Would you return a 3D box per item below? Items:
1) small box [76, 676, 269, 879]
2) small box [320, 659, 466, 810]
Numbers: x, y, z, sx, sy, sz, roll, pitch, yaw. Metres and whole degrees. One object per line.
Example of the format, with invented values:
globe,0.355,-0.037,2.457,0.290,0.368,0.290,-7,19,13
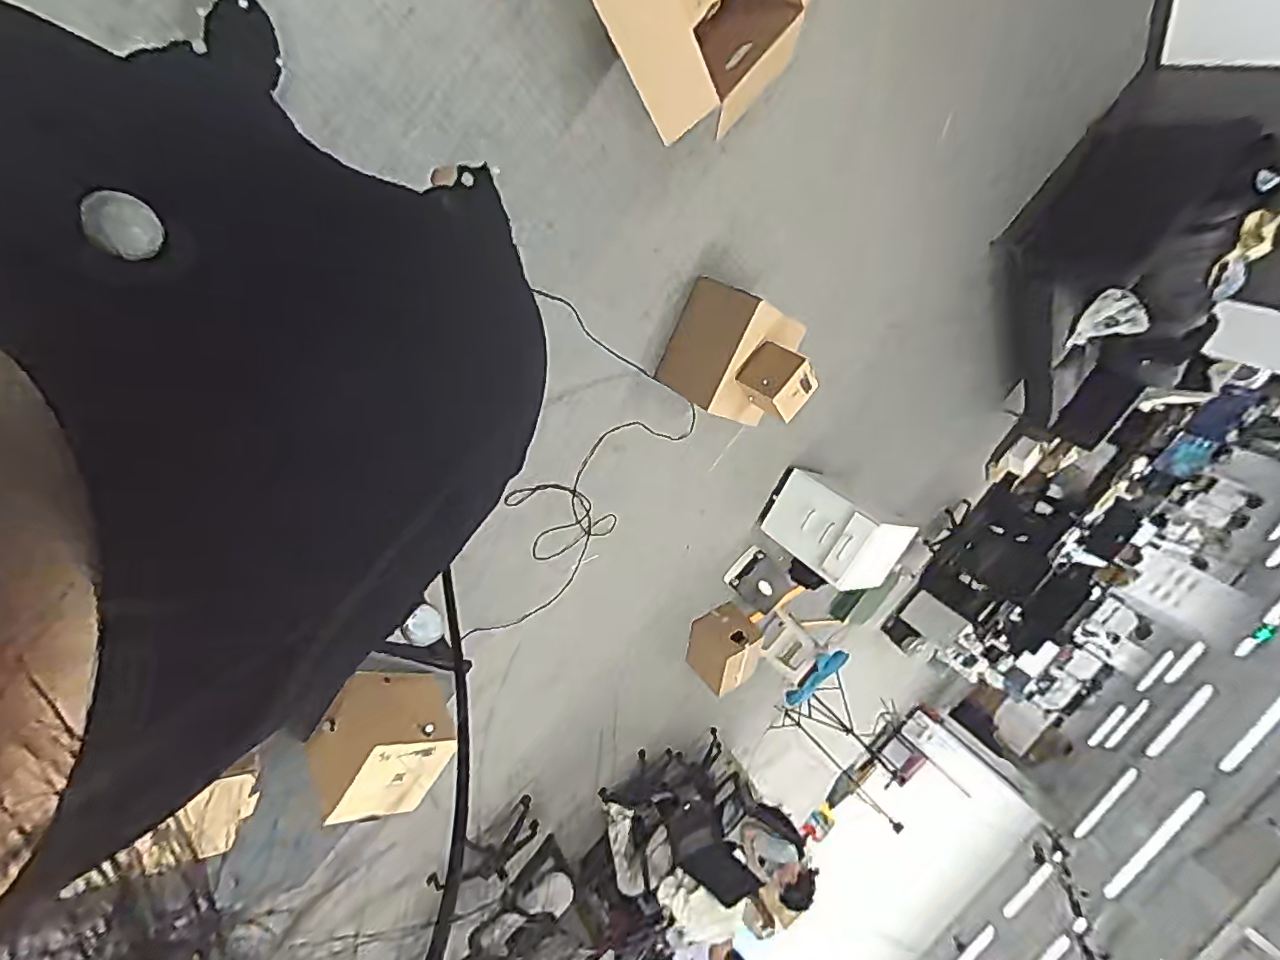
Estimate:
small box,-0.658,0.401,0.767,0.179,0.176,0.168,10,113,-45
small box,-0.457,0.455,0.988,0.168,0.176,0.179,26,102,-50
